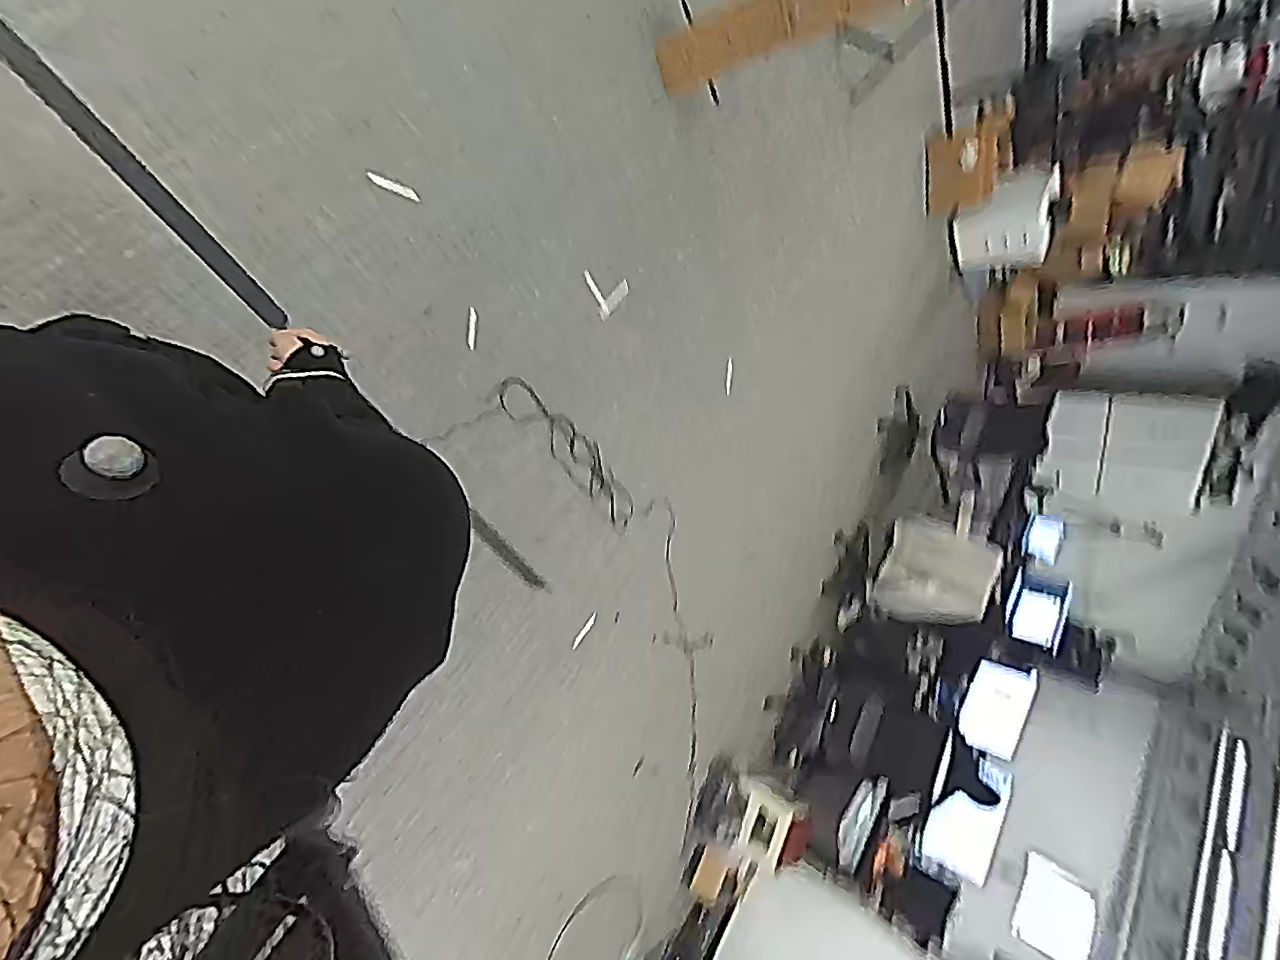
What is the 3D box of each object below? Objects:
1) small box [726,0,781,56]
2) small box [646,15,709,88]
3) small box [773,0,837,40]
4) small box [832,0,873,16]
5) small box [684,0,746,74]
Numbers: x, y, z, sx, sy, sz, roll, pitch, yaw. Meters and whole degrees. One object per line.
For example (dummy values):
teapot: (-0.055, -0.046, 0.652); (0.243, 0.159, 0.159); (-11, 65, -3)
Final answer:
small box: (0.391, -1.485, 1.700); (0.168, 0.176, 0.179); (-47, 129, -27)
small box: (0.152, -1.526, 1.917); (0.168, 0.176, 0.179); (-48, 129, -27)
small box: (0.511, -1.446, 1.593); (0.179, 0.176, 0.168); (-47, 128, -26)
small box: (0.631, -1.425, 1.483); (0.179, 0.176, 0.168); (-48, 129, -25)
small box: (0.272, -1.505, 1.807); (0.168, 0.176, 0.179); (-44, 128, -29)
